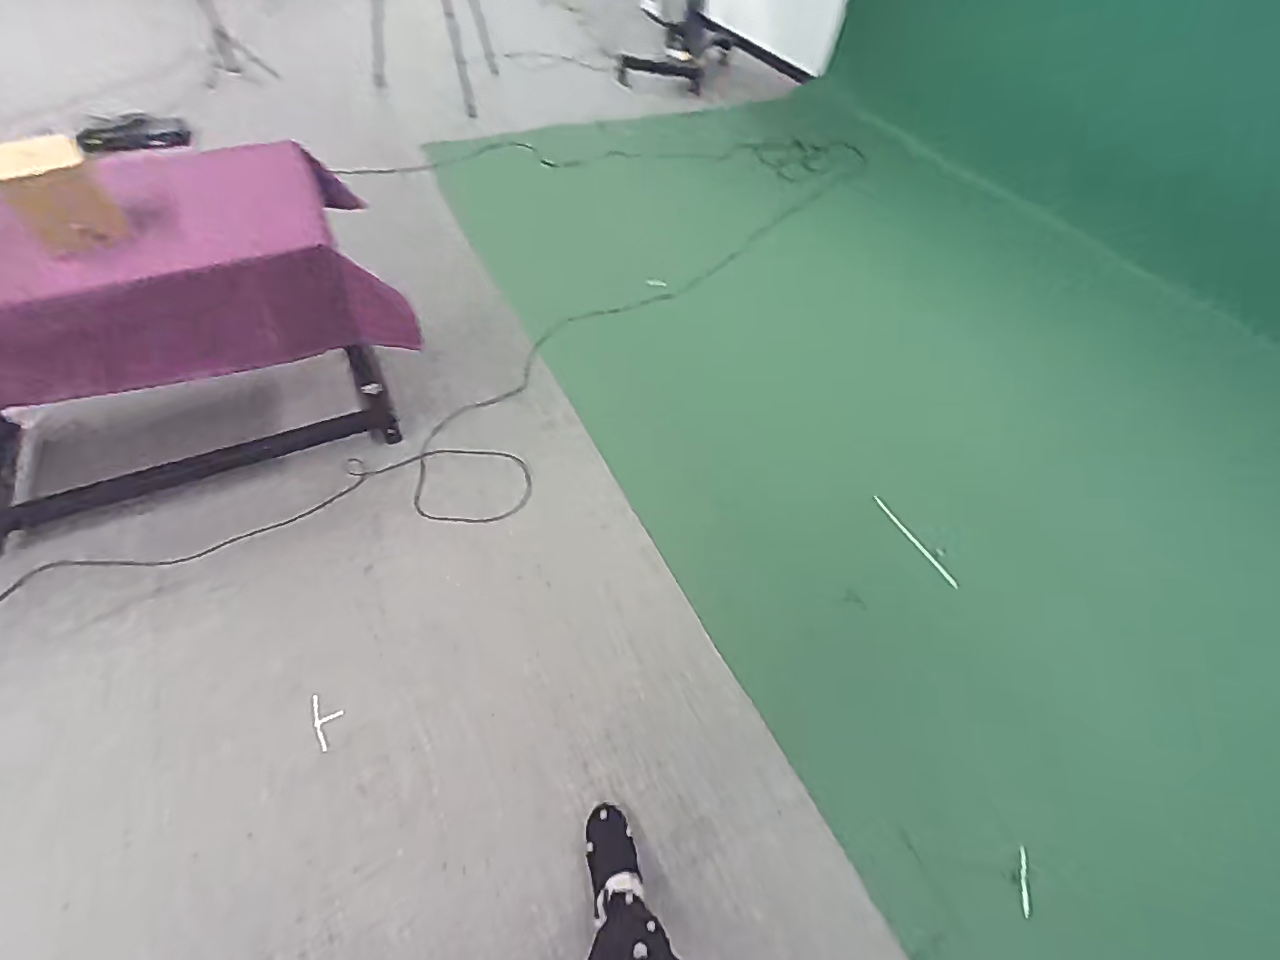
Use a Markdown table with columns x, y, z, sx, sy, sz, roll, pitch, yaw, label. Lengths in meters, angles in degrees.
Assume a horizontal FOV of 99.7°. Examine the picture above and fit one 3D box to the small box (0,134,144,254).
| x | y | z | sx | sy | sz | roll | pitch | yaw | label |
| --- | --- | --- | --- | --- | --- | --- | --- | --- | --- |
| -1.270 | -0.638 | 1.208 | 0.168 | 0.176 | 0.179 | -32 | 62 | -24 | small box |
